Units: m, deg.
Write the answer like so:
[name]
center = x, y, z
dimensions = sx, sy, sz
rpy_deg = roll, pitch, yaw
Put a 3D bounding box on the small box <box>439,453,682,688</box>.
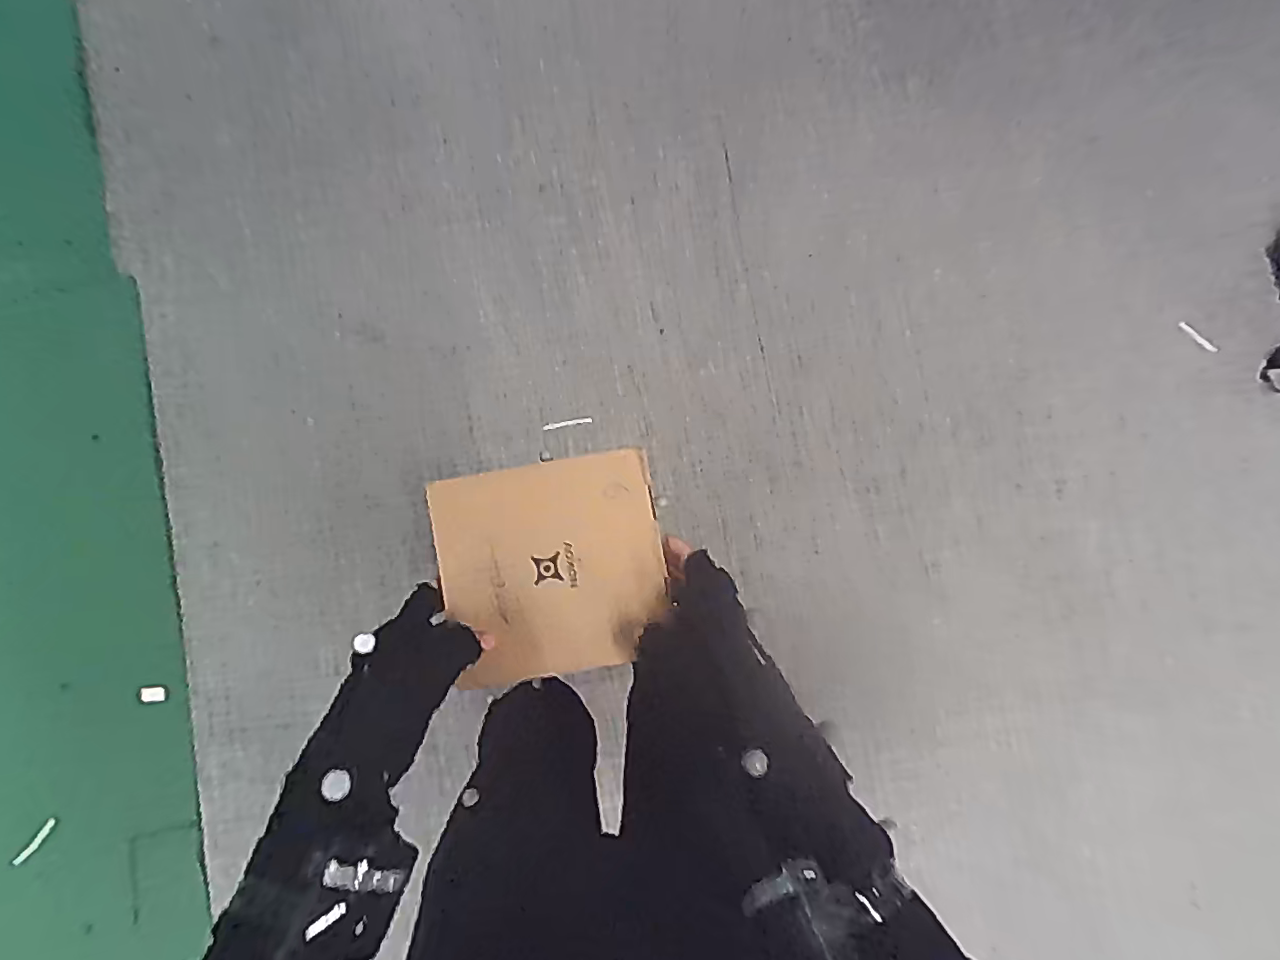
[small box]
center = -0.064, 0.075, 0.512
dimensions = 0.179, 0.176, 0.168
rpy_deg = -11, 86, 1
